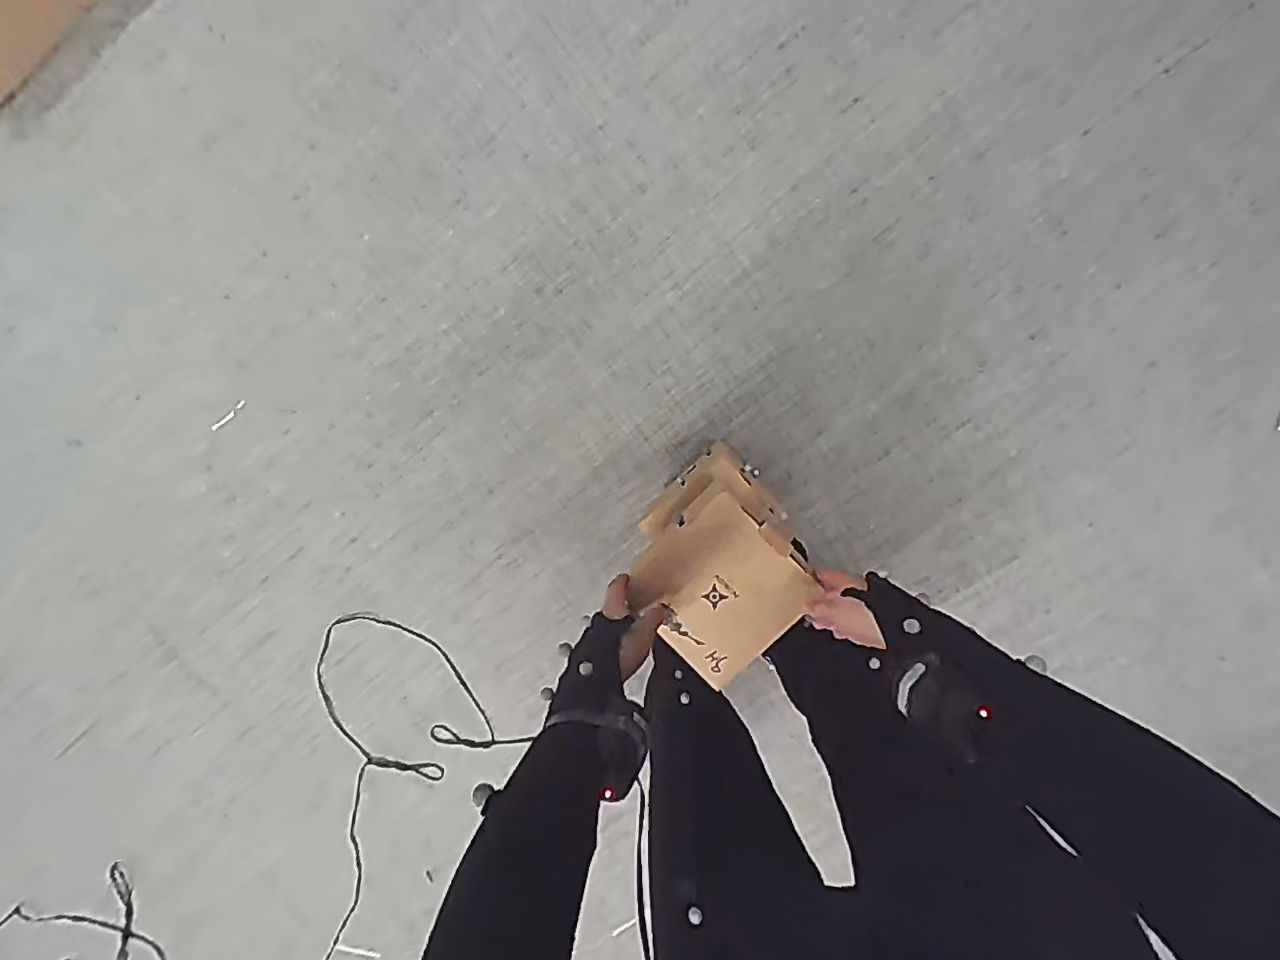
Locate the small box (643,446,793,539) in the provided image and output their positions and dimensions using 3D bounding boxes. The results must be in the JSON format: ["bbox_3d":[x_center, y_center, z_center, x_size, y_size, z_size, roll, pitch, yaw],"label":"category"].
[{"bbox_3d":[0.126,0.059,0.906,0.179,0.176,0.168,-39,92,11],"label":"small box"}]

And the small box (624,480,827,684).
[{"bbox_3d":[0.102,0.115,0.695,0.168,0.176,0.179,45,97,2],"label":"small box"}]
